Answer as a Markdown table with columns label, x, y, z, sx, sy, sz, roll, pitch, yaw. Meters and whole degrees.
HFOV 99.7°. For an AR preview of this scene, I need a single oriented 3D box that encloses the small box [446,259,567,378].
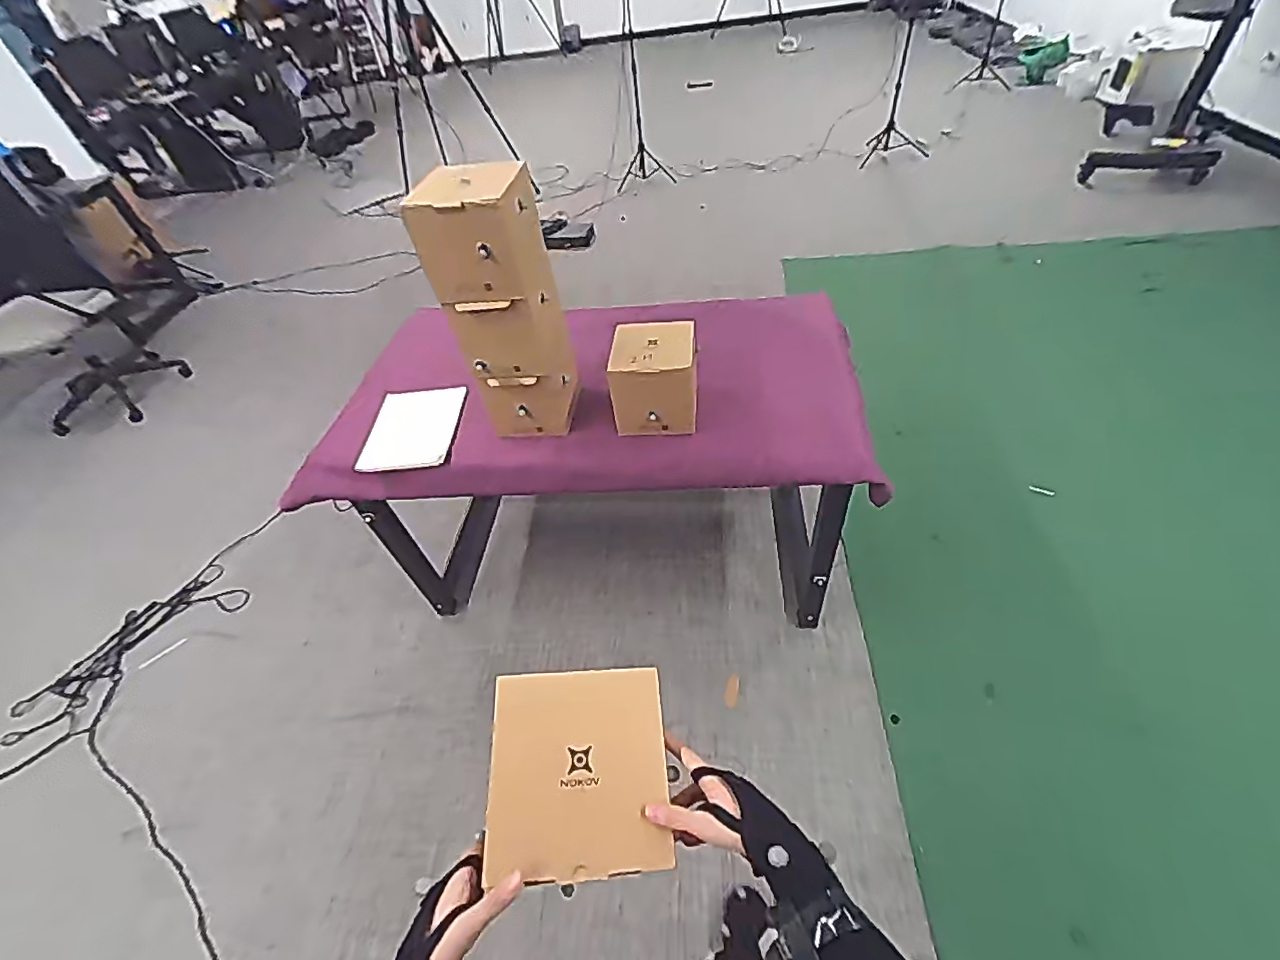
| label | x | y | z | sx | sy | sz | roll | pitch | yaw |
| --- | --- | --- | --- | --- | --- | --- | --- | --- | --- |
| small box | -0.251 | -0.314 | 1.069 | 0.168 | 0.176 | 0.179 | 0 | 46 | 8 |

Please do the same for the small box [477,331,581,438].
| label | x | y | z | sx | sy | sz | roll | pitch | yaw |
| --- | --- | --- | --- | --- | --- | --- | --- | --- | --- |
| small box | -0.233 | -0.207 | 1.193 | 0.168 | 0.176 | 0.179 | 0 | 48 | 8 |

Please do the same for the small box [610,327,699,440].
| label | x | y | z | sx | sy | sz | roll | pitch | yaw |
| --- | --- | --- | --- | --- | --- | --- | --- | --- | --- |
| small box | 0.039 | -0.205 | 1.149 | 0.168 | 0.176 | 0.179 | 0 | 47 | 9 |

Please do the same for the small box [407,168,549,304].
| label | x | y | z | sx | sy | sz | roll | pitch | yaw |
| --- | --- | --- | --- | --- | --- | --- | --- | --- | --- |
| small box | -0.268 | -0.421 | 0.947 | 0.168 | 0.176 | 0.179 | 1 | 47 | 8 |

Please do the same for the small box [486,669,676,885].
| label | x | y | z | sx | sy | sz | roll | pitch | yaw |
| --- | --- | --- | --- | --- | --- | --- | --- | --- | --- |
| small box | -0.063 | 0.316 | 0.575 | 0.168 | 0.176 | 0.179 | 0 | 55 | -7 |
